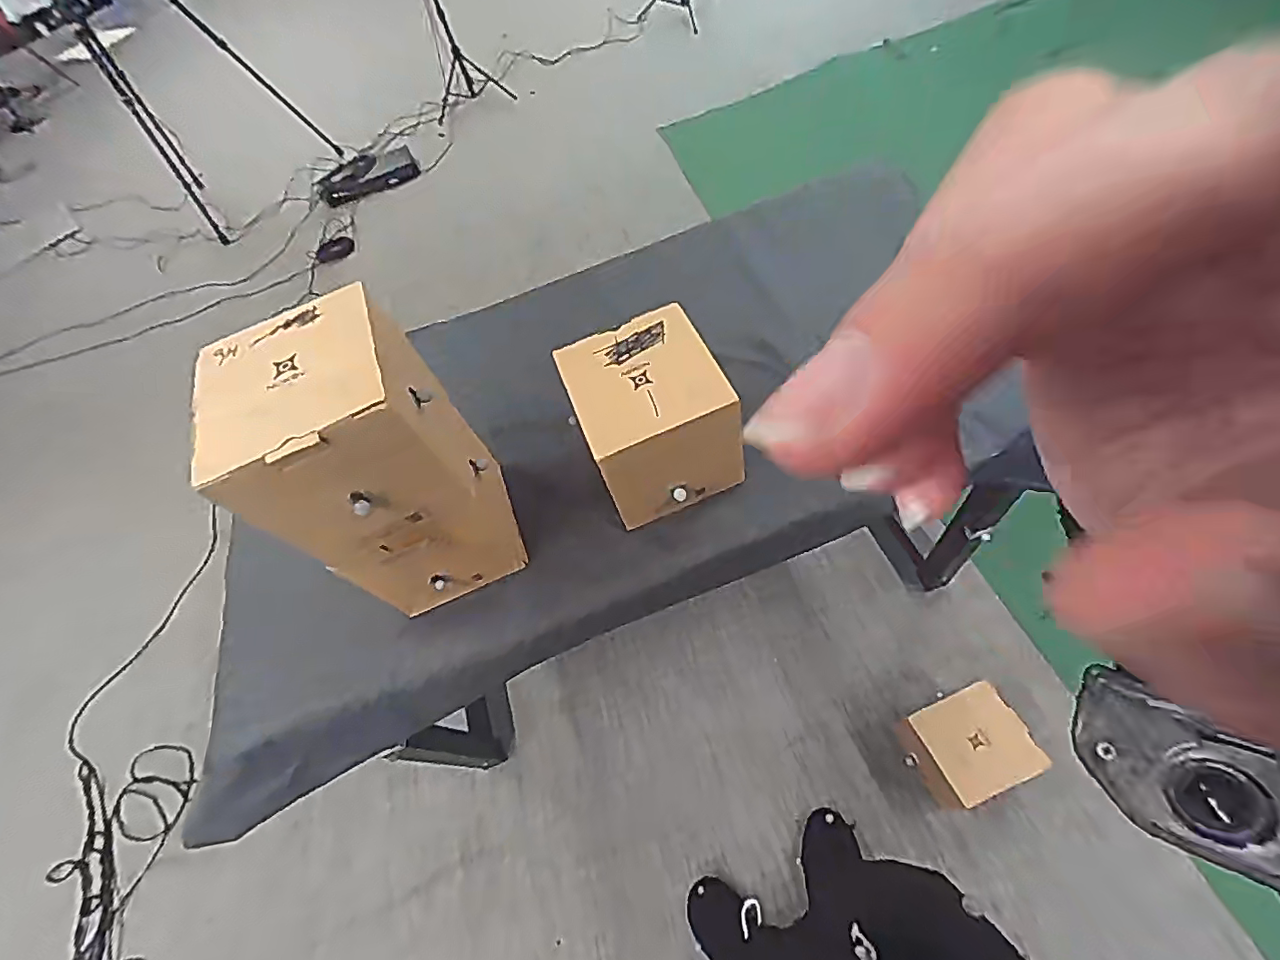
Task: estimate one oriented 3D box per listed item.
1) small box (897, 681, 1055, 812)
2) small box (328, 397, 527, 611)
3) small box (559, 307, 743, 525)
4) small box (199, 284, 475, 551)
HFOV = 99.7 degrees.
[{"bbox_3d":[0.632,0.516,1.046,0.179,0.176,0.168,-26,56,-3],"label":"small box"},{"bbox_3d":[-0.261,0.035,0.674,0.168,0.176,0.179,-24,57,-3],"label":"small box"},{"bbox_3d":[0.018,-0.074,0.674,0.168,0.176,0.179,-23,57,-1],"label":"small box"},{"bbox_3d":[-0.285,-0.049,0.535,0.168,0.176,0.179,-25,58,-4],"label":"small box"}]
